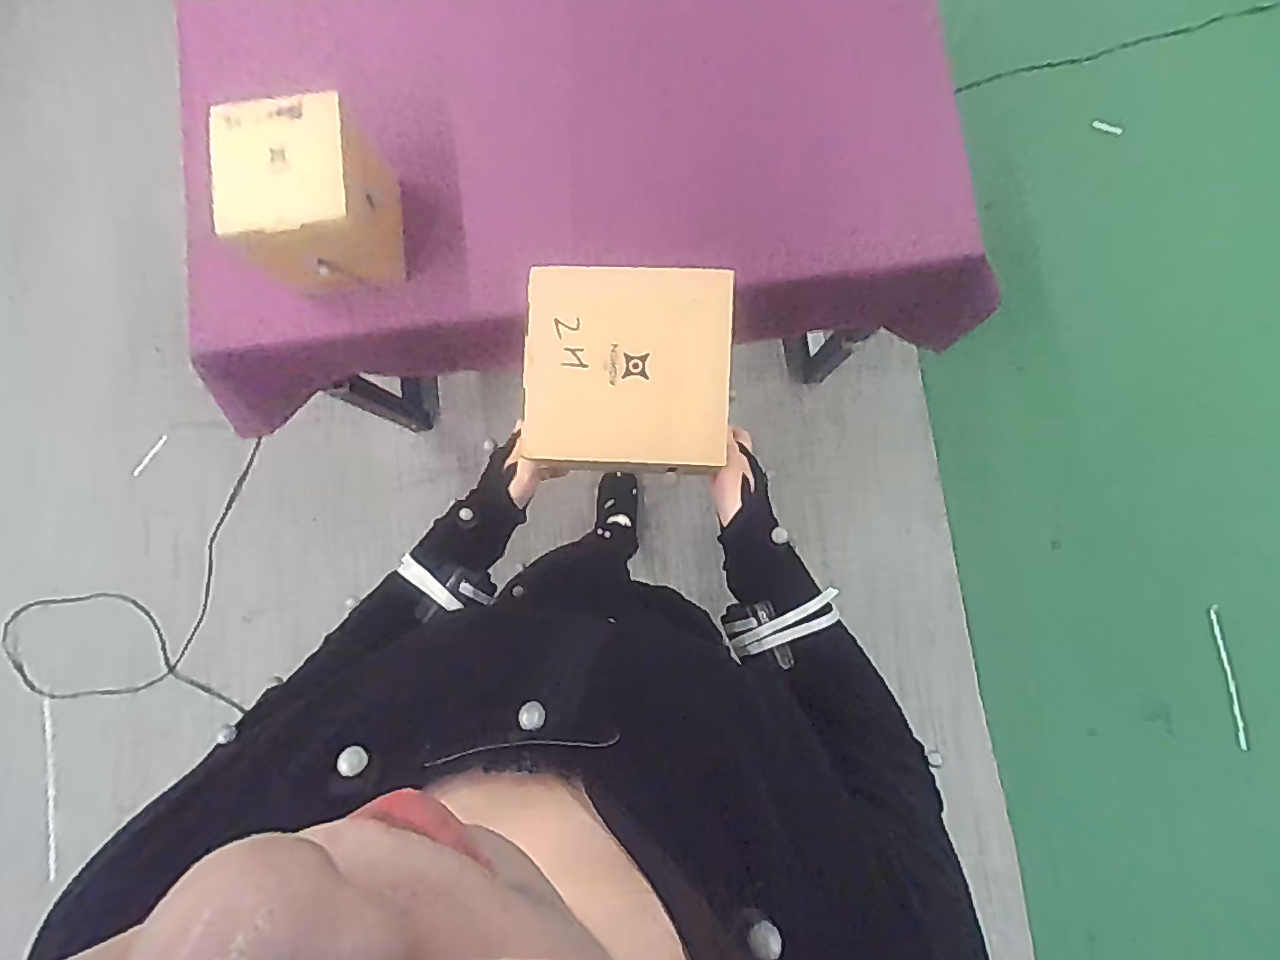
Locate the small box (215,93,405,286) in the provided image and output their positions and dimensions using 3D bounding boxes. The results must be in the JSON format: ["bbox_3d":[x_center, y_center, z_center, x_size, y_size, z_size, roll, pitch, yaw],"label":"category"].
[{"bbox_3d":[-0.445,-0.386,0.754,0.168,0.176,0.179,-7,84,0],"label":"small box"}]

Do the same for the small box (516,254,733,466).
[{"bbox_3d":[-0.008,-0.104,0.534,0.179,0.176,0.168,3,87,5],"label":"small box"}]
